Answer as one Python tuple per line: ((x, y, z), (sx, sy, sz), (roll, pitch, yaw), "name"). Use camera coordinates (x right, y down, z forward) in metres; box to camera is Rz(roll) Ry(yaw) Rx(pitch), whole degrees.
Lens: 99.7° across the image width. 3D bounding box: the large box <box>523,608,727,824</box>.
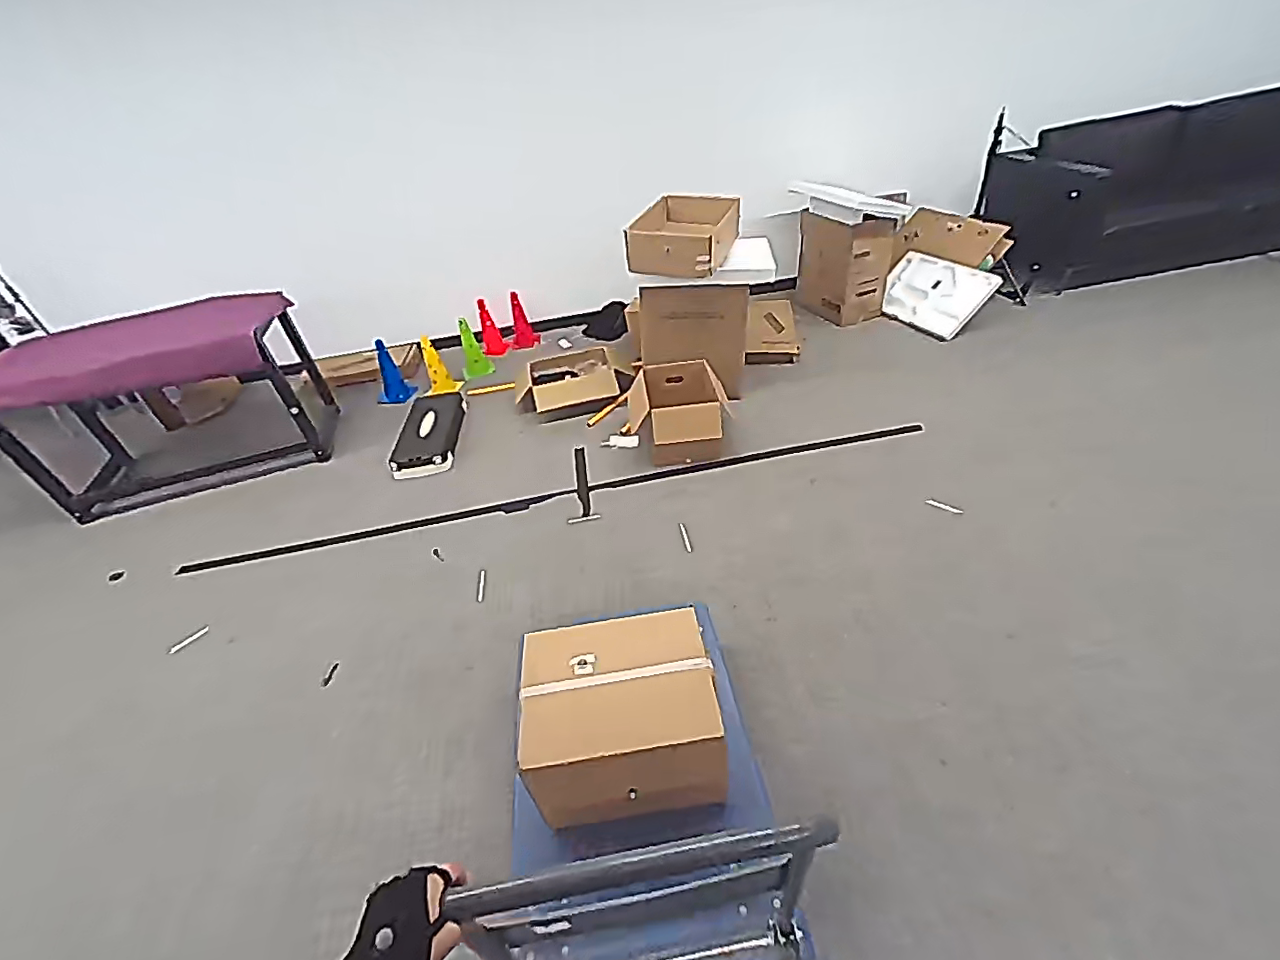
((-0.031, 0.545, 1.255), (0.408, 0.320, 0.320), (-10, 38, -1), "large box")
